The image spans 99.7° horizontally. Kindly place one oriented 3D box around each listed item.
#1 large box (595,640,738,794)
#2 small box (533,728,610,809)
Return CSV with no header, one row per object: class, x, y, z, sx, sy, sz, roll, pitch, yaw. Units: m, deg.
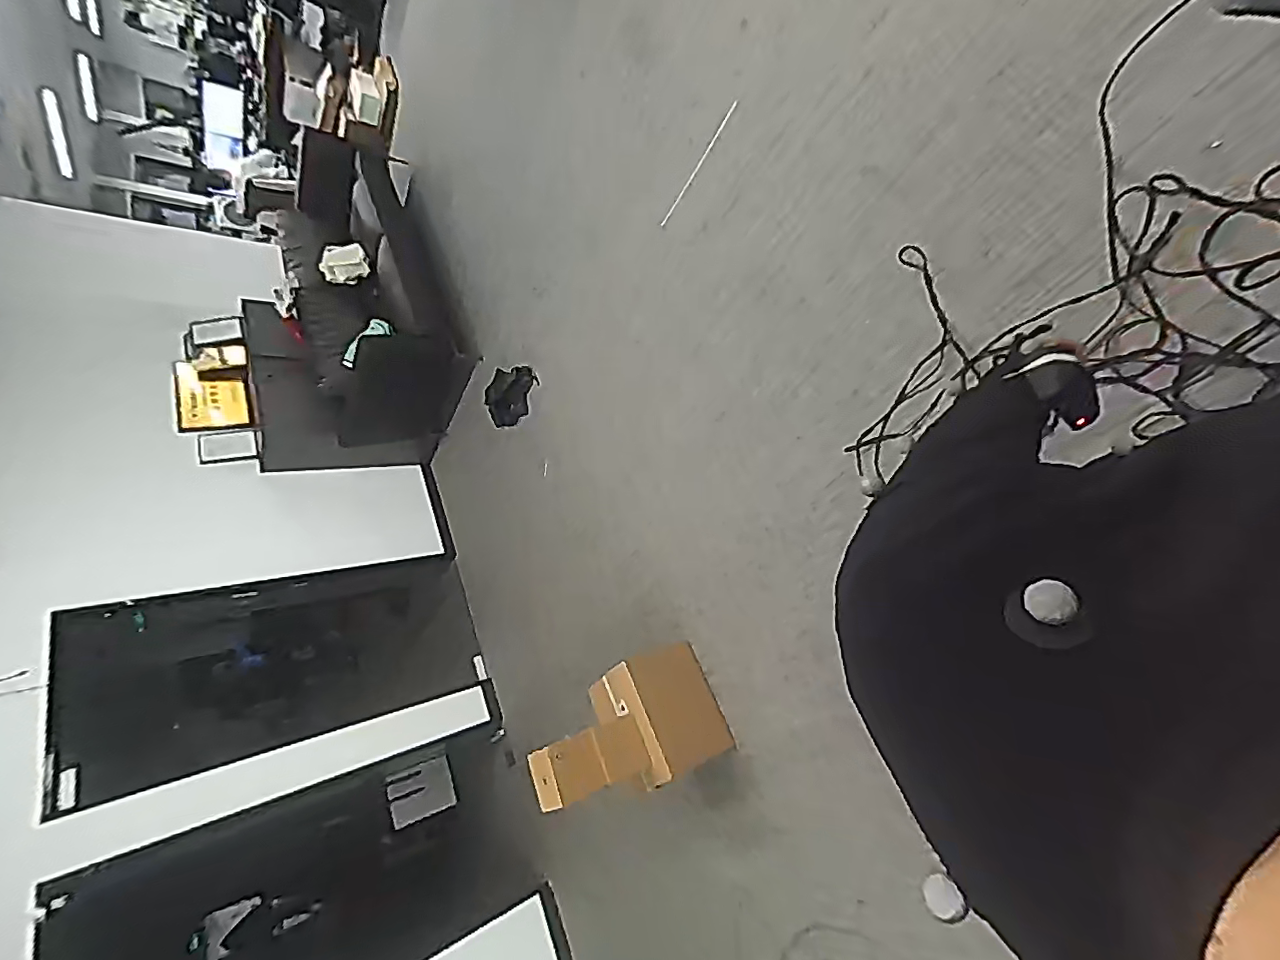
large box,0.089,0.866,2.003,0.320,0.320,0.408,-50,55,40
small box,-0.220,0.928,1.742,0.168,0.176,0.179,-46,57,43
